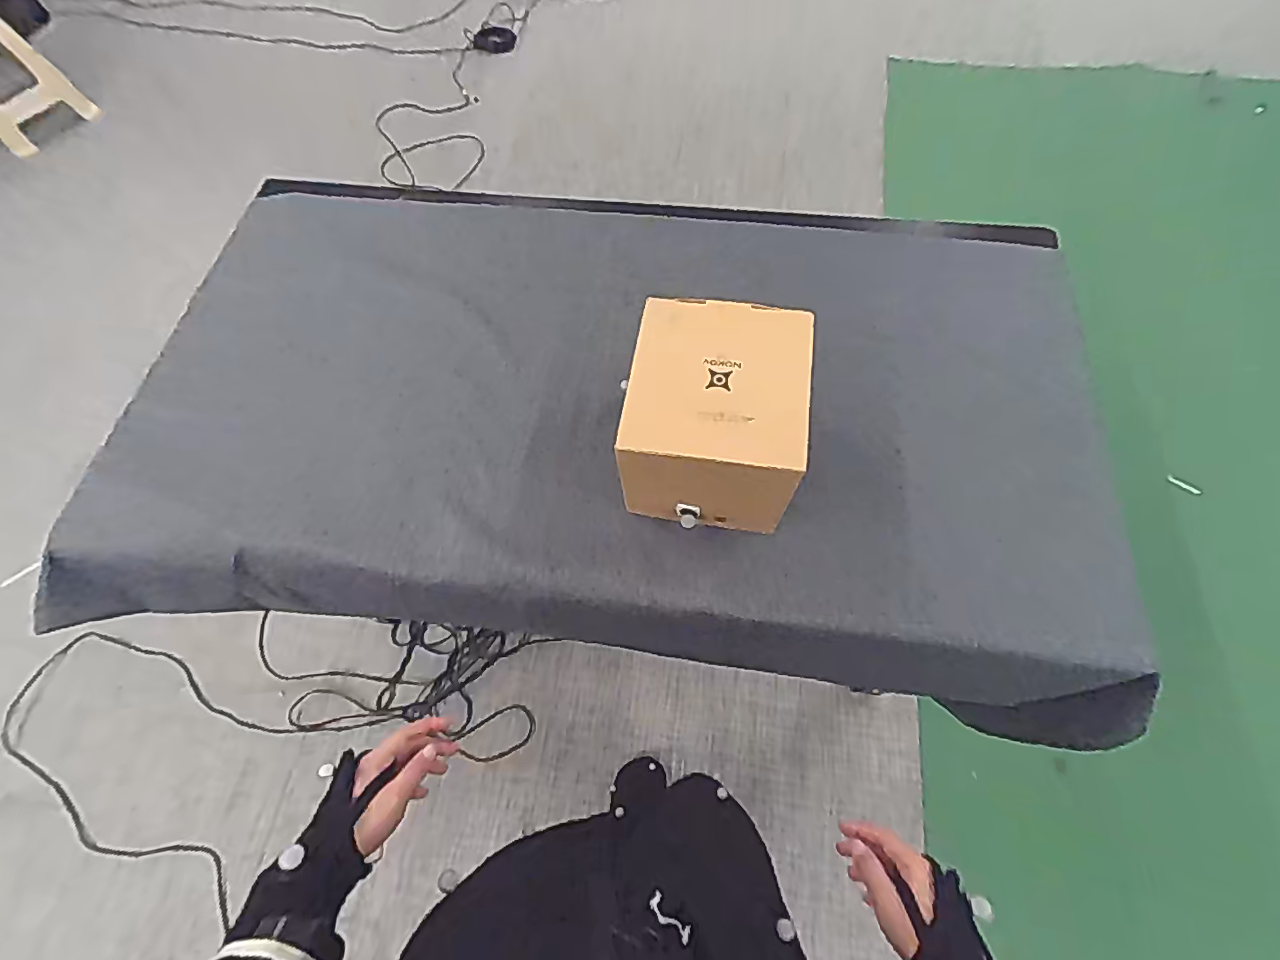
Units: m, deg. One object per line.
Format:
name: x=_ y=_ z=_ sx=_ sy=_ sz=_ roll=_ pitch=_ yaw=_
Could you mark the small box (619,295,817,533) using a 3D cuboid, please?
small box: x=0.079 y=-0.061 z=0.561 sx=0.168 sy=0.176 sz=0.179 roll=7 pitch=67 yaw=7
